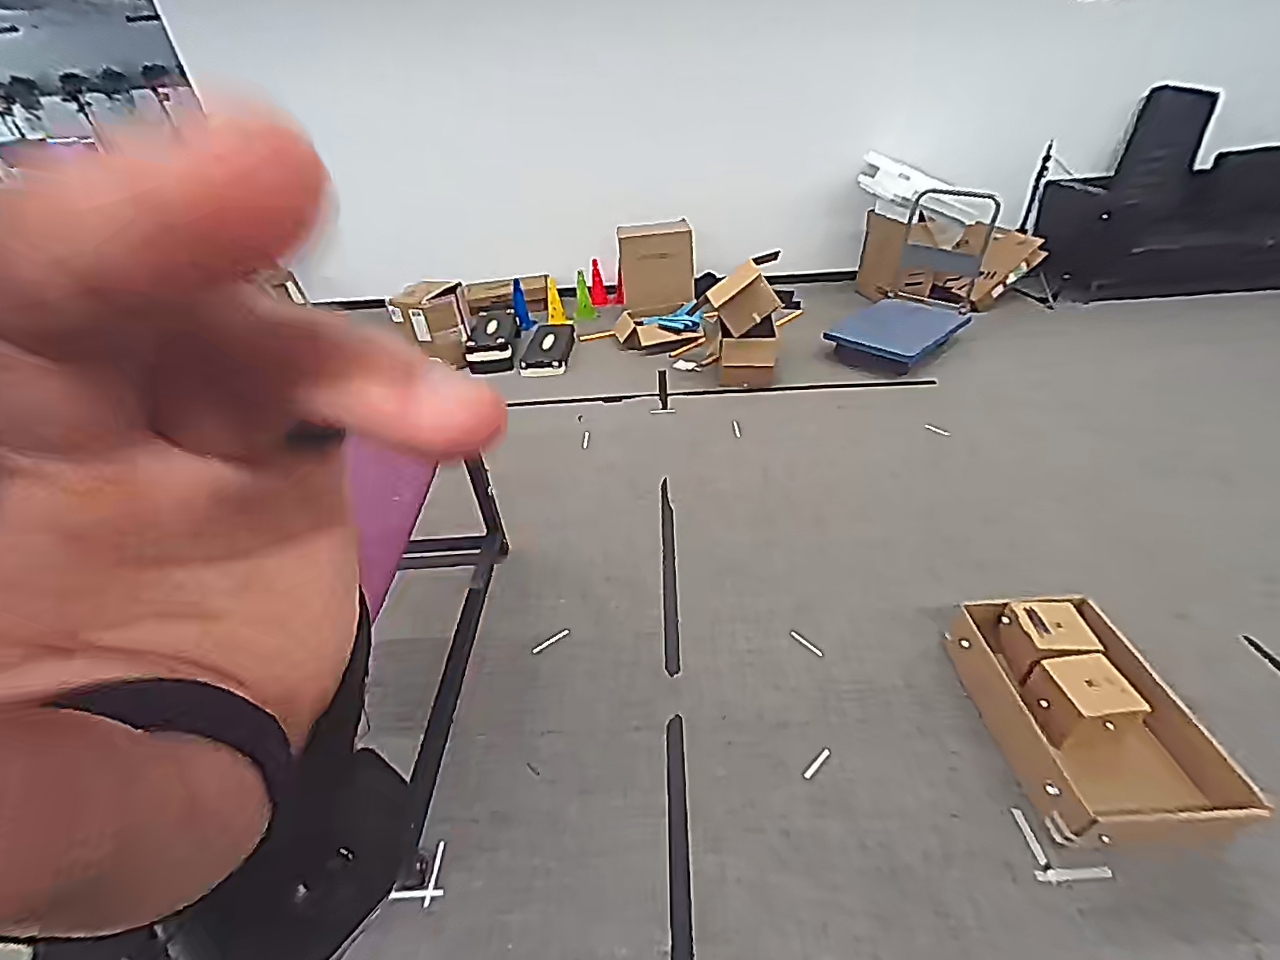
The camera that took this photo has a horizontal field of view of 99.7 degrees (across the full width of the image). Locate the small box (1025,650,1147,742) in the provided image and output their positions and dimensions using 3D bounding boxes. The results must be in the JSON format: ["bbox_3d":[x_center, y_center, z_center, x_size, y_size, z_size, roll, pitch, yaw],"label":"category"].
[{"bbox_3d":[1.181,0.584,1.454,0.179,0.176,0.168,-6,37,-2],"label":"small box"}]
